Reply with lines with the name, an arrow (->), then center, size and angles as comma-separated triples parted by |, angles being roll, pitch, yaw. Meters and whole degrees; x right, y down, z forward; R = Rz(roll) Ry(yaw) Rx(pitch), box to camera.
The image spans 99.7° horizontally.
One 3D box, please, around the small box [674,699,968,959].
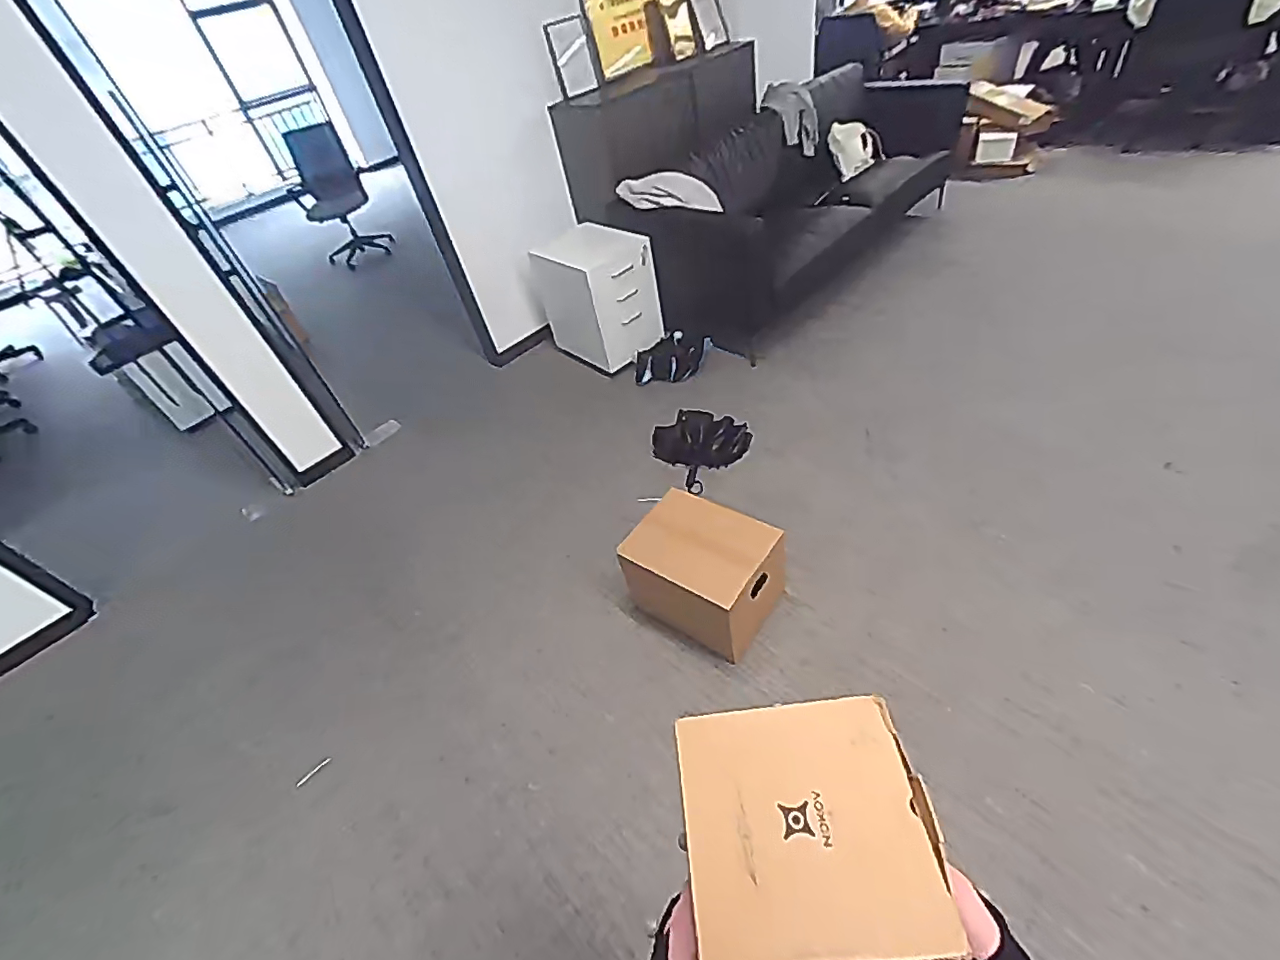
small box -> 0.132, 0.306, 0.458 | 0.179, 0.176, 0.168 | -10, 47, 5
